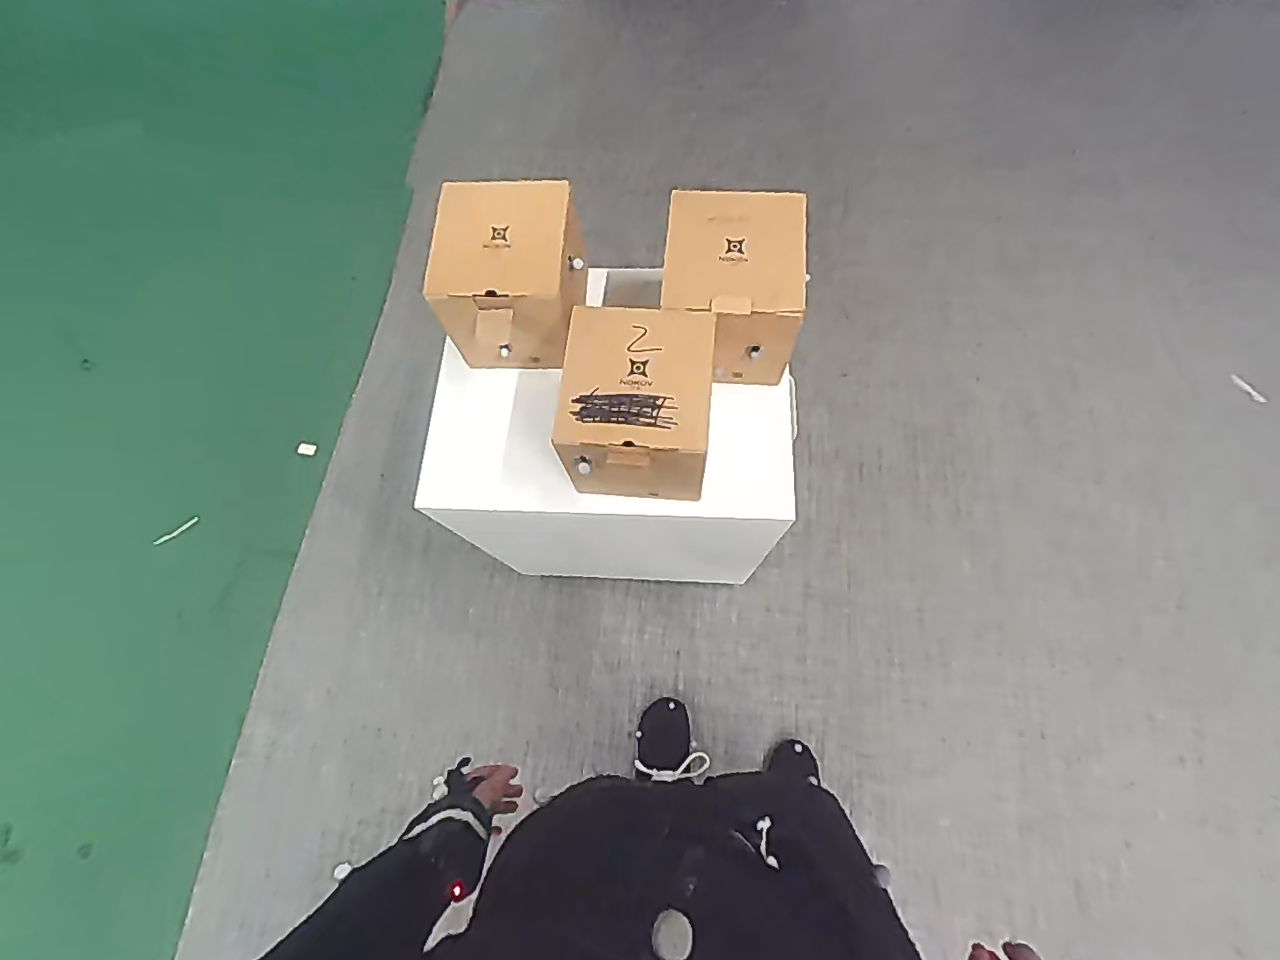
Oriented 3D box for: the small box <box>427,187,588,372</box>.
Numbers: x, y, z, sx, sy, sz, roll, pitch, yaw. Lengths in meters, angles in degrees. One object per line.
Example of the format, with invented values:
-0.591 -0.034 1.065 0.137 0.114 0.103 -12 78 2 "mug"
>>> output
-0.165 -0.267 0.738 0.168 0.176 0.179 1 72 3 "small box"
